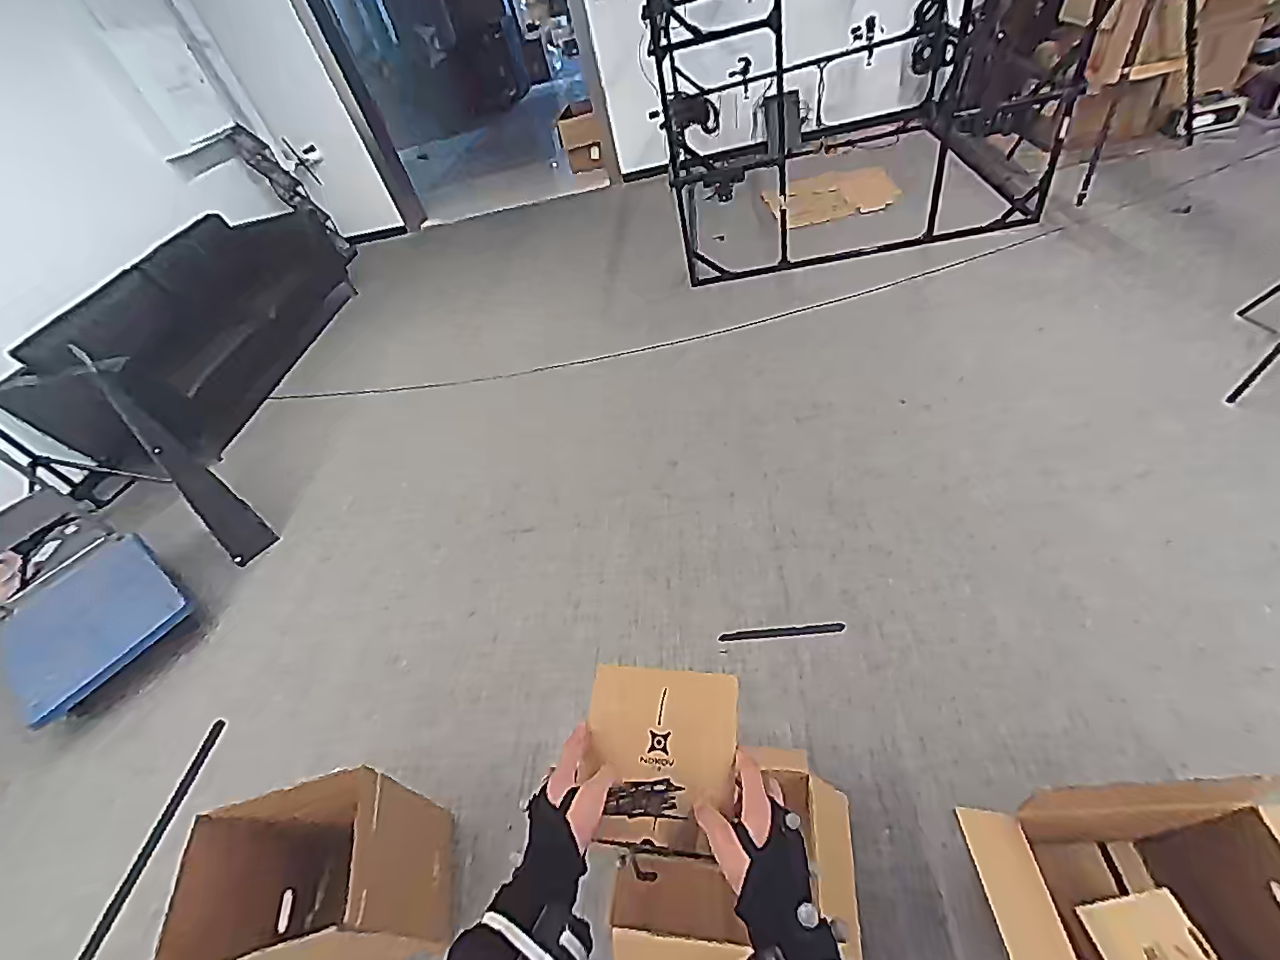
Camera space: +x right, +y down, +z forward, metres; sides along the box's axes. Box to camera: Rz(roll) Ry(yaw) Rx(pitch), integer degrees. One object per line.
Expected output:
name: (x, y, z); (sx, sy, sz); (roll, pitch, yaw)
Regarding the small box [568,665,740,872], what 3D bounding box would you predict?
small box: (0.030, 0.338, 0.631); (0.168, 0.176, 0.179); (1, 50, 11)
